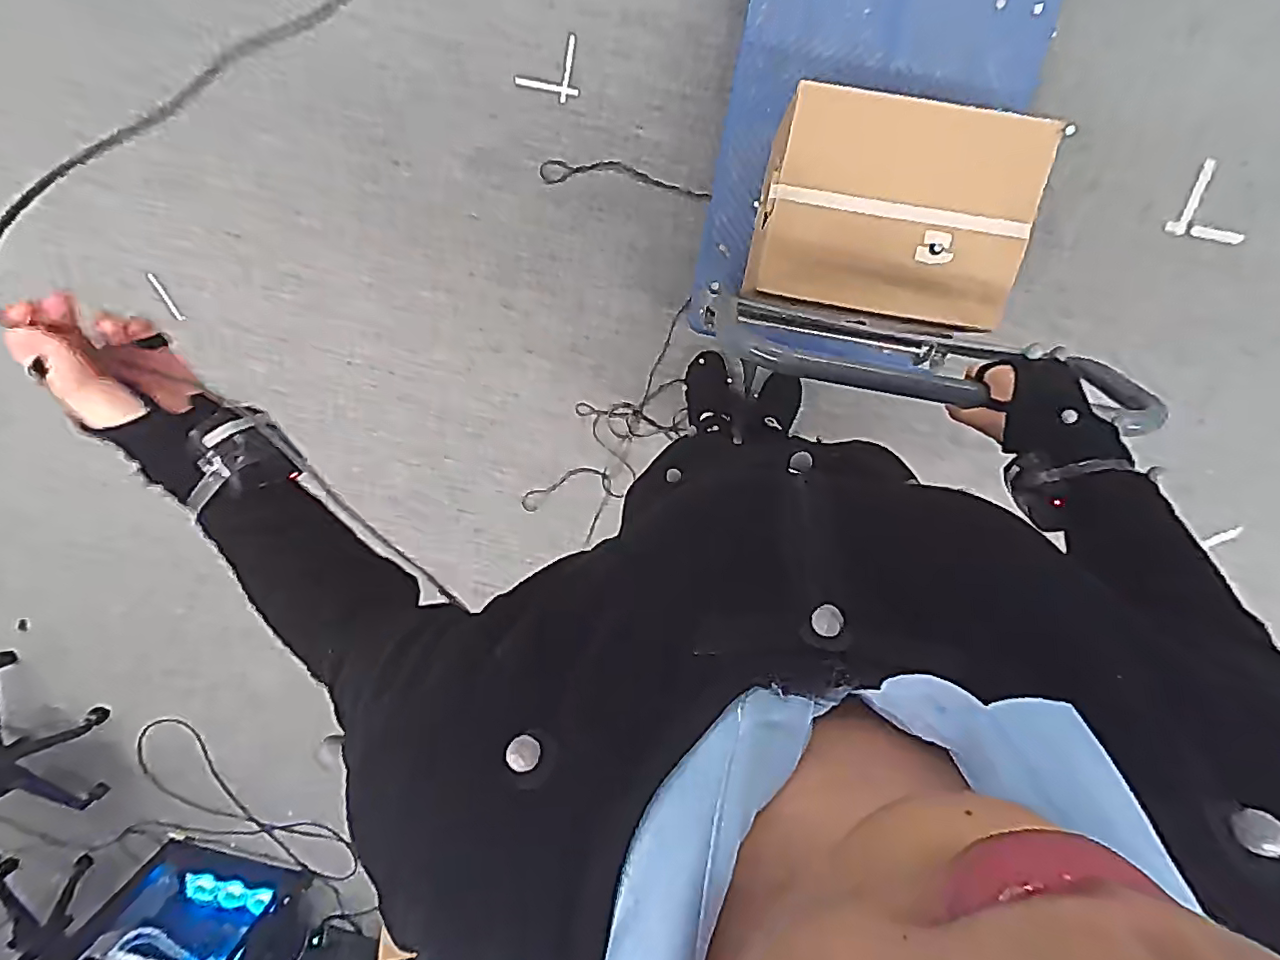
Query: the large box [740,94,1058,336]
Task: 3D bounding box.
[{"bbox_3d":[0.425,-0.455,1.006,0.408,0.320,0.320,11,107,2],"label":"large box"}]
